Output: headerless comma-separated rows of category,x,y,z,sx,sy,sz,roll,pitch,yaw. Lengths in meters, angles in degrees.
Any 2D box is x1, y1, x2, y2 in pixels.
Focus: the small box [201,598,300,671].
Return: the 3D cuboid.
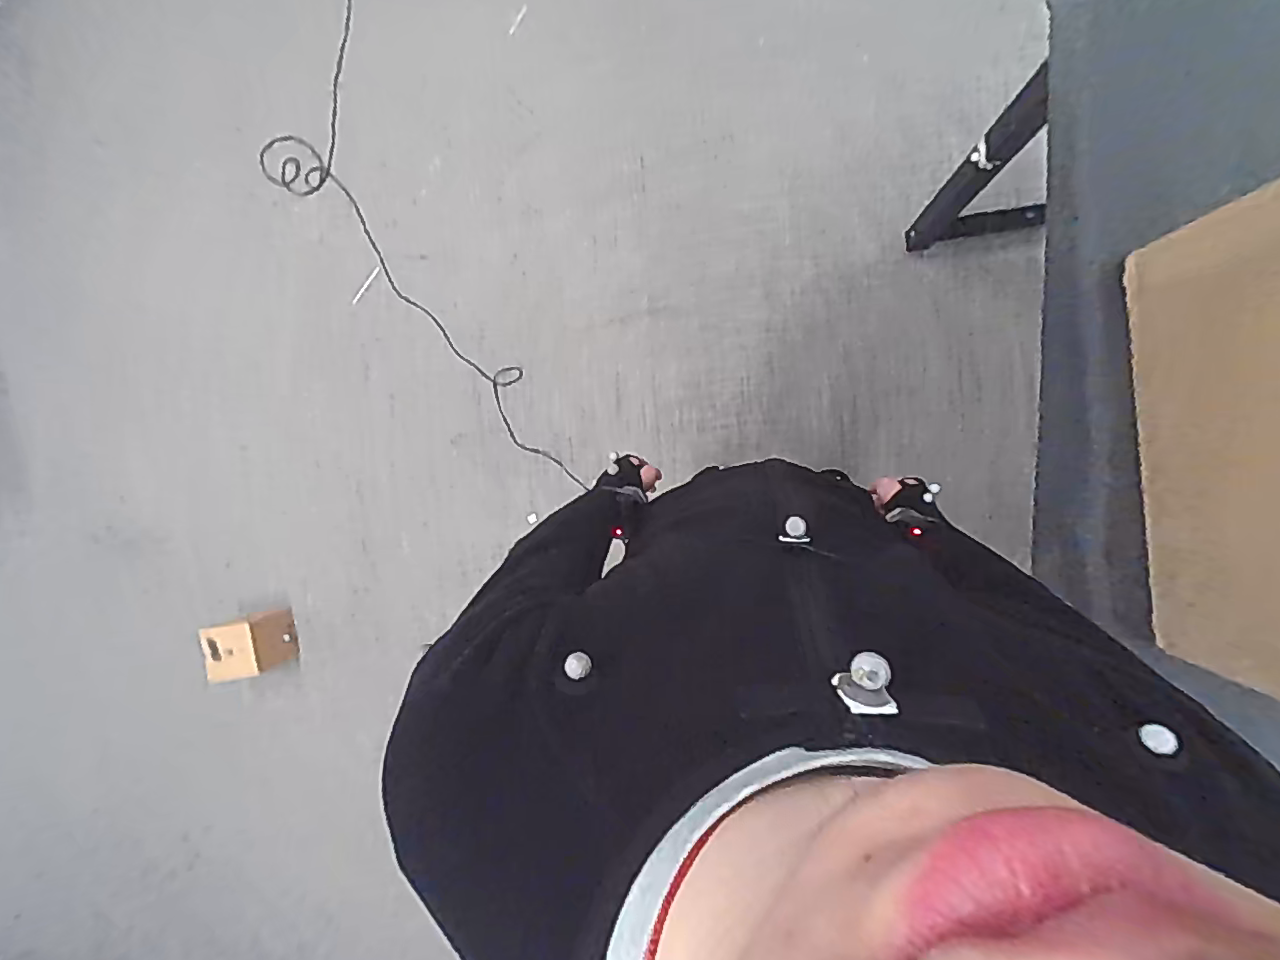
small box,-1.220,0.482,1.703,0.179,0.176,0.168,-9,92,8
